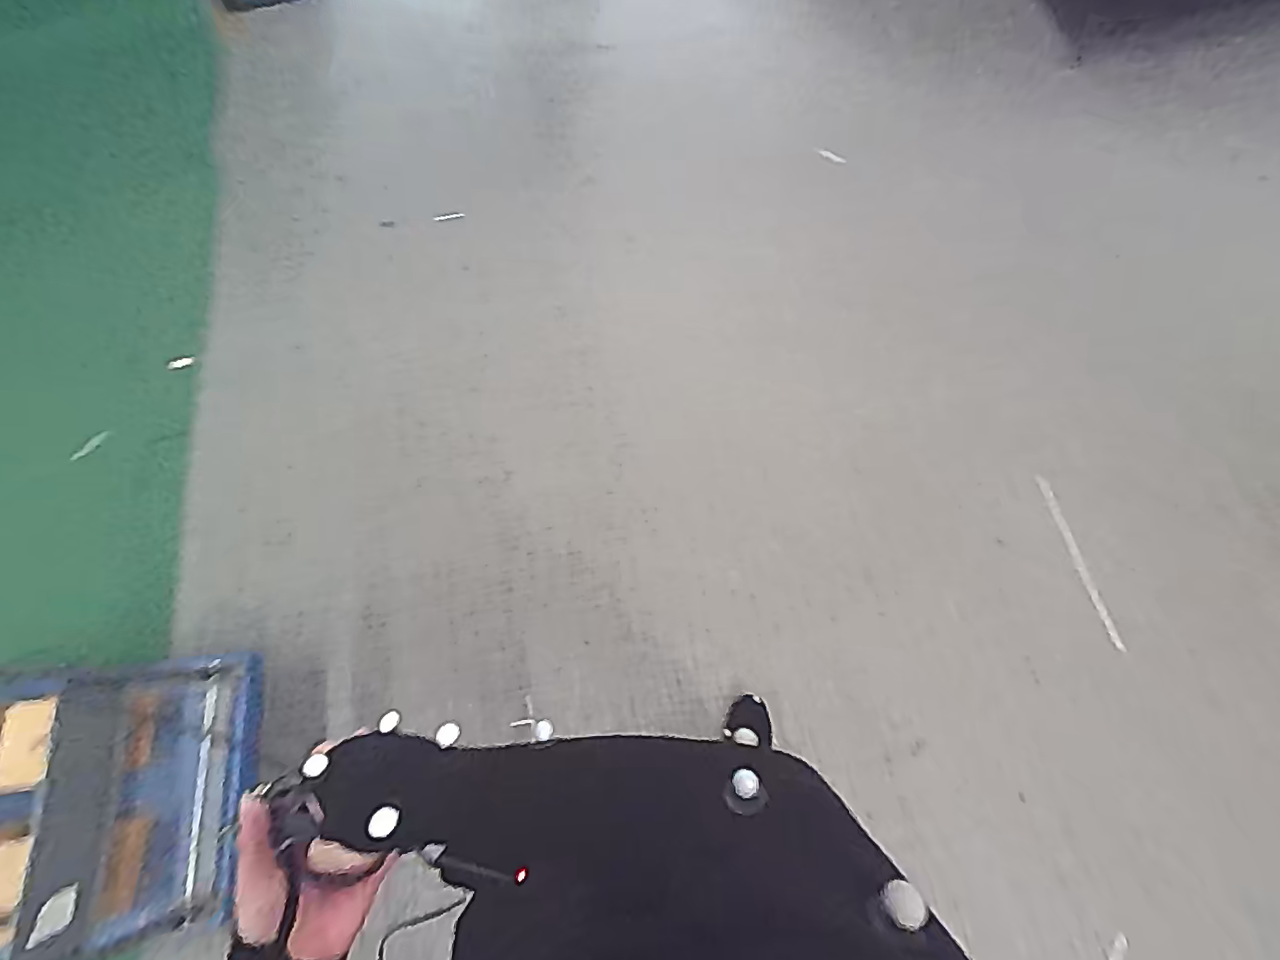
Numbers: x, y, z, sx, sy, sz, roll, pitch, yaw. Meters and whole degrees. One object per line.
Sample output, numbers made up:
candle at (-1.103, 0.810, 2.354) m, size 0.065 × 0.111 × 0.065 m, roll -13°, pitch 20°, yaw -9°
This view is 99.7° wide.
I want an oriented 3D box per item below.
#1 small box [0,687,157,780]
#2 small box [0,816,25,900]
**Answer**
small box at (-1.253, 0.562, 1.212) m, size 0.179 × 0.176 × 0.168 m, roll -6°, pitch 71°, yaw 0°
small box at (-1.471, 0.828, 1.132) m, size 0.179 × 0.176 × 0.168 m, roll -11°, pitch 70°, yaw -1°
